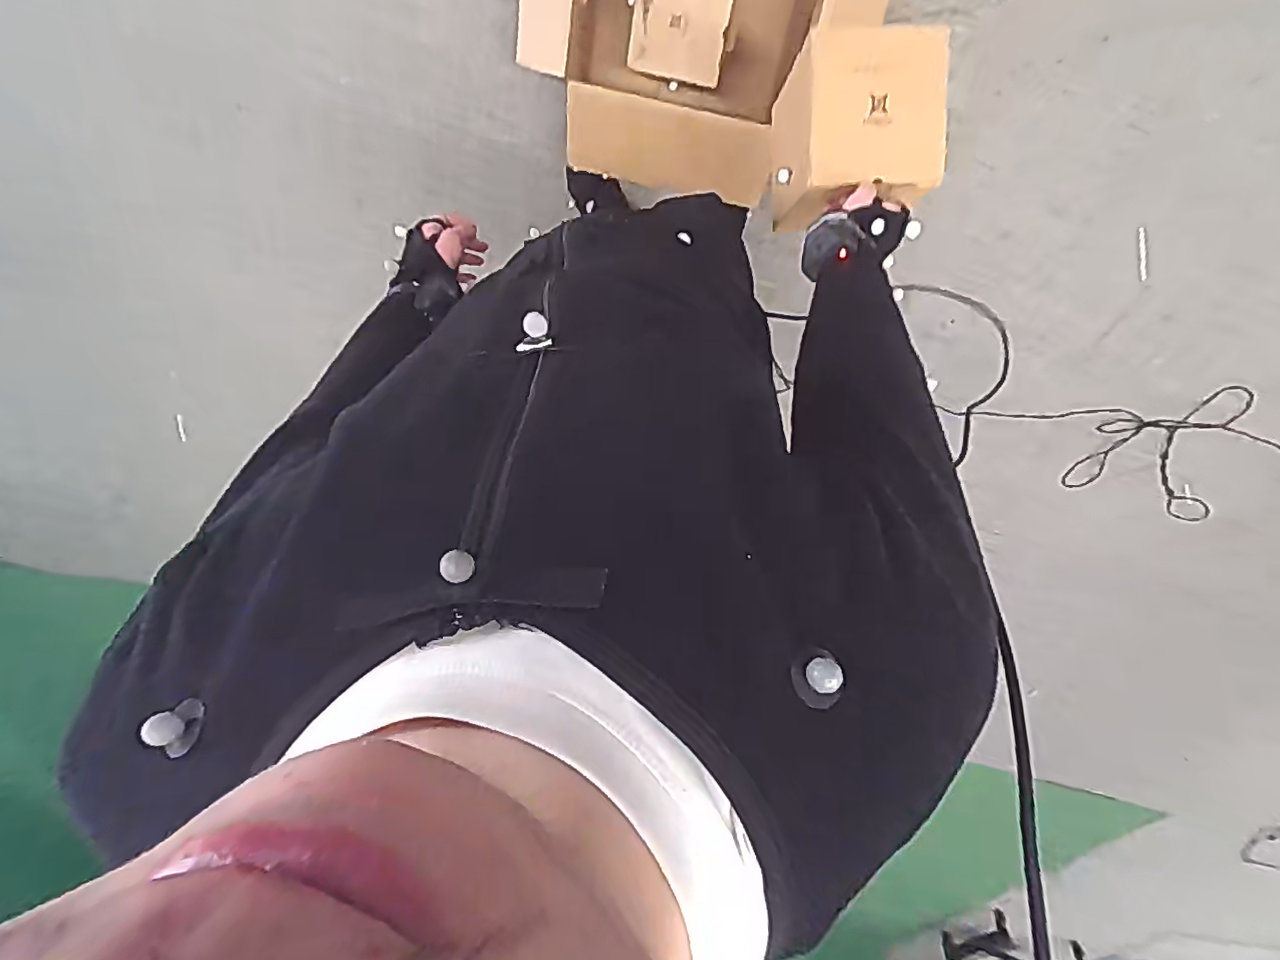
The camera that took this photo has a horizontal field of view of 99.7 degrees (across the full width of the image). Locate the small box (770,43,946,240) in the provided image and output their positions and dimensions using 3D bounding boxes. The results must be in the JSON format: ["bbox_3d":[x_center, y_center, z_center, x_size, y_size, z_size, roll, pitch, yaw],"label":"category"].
[{"bbox_3d":[0.279,-0.437,0.727,0.168,0.176,0.179,-1,95,-3],"label":"small box"}]
